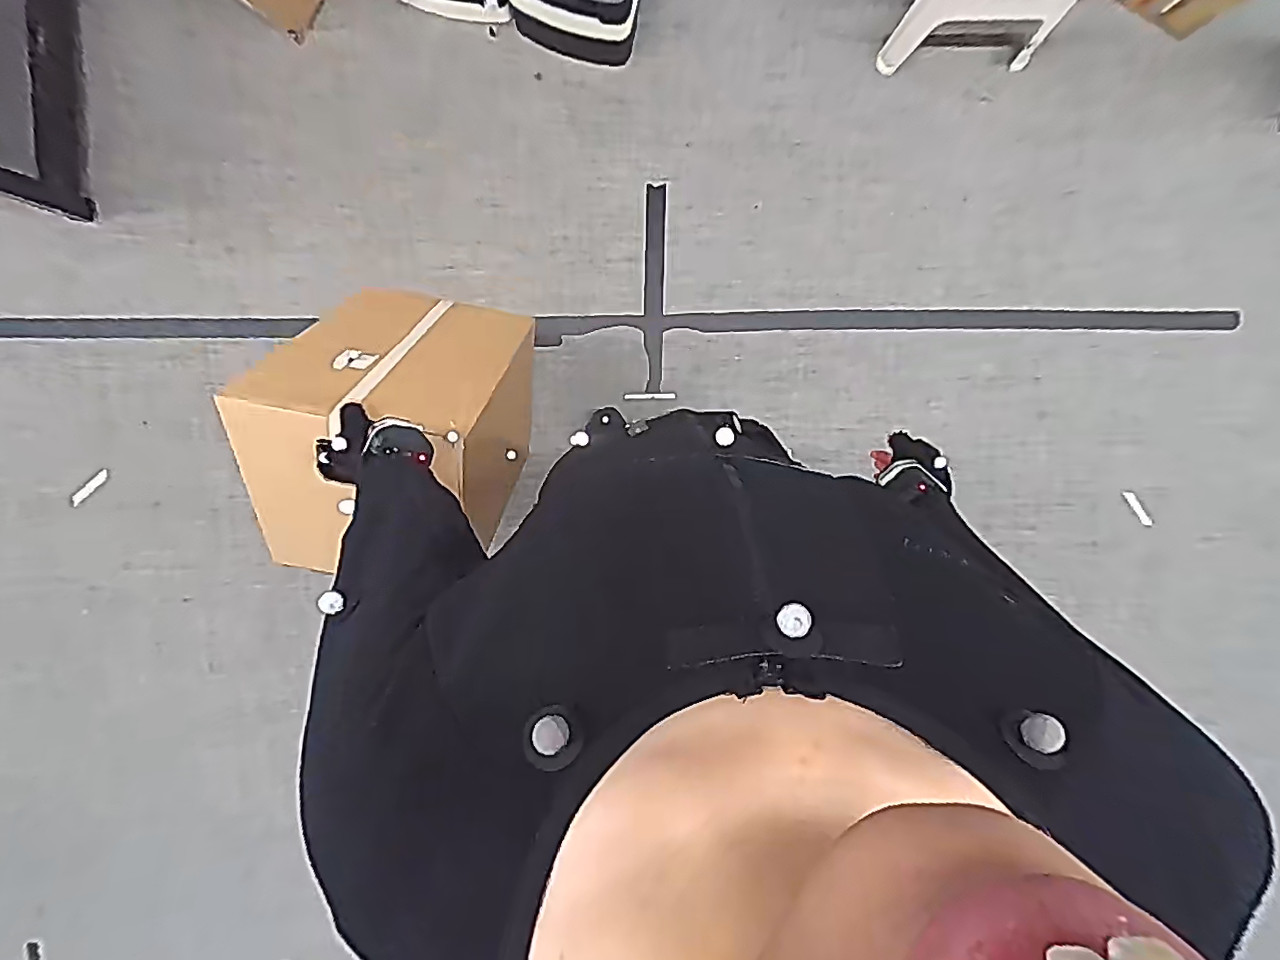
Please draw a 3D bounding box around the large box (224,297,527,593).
[{"bbox_3d":[-0.397,-0.074,0.942,0.320,0.408,0.320,9,129,-2],"label":"large box"}]
